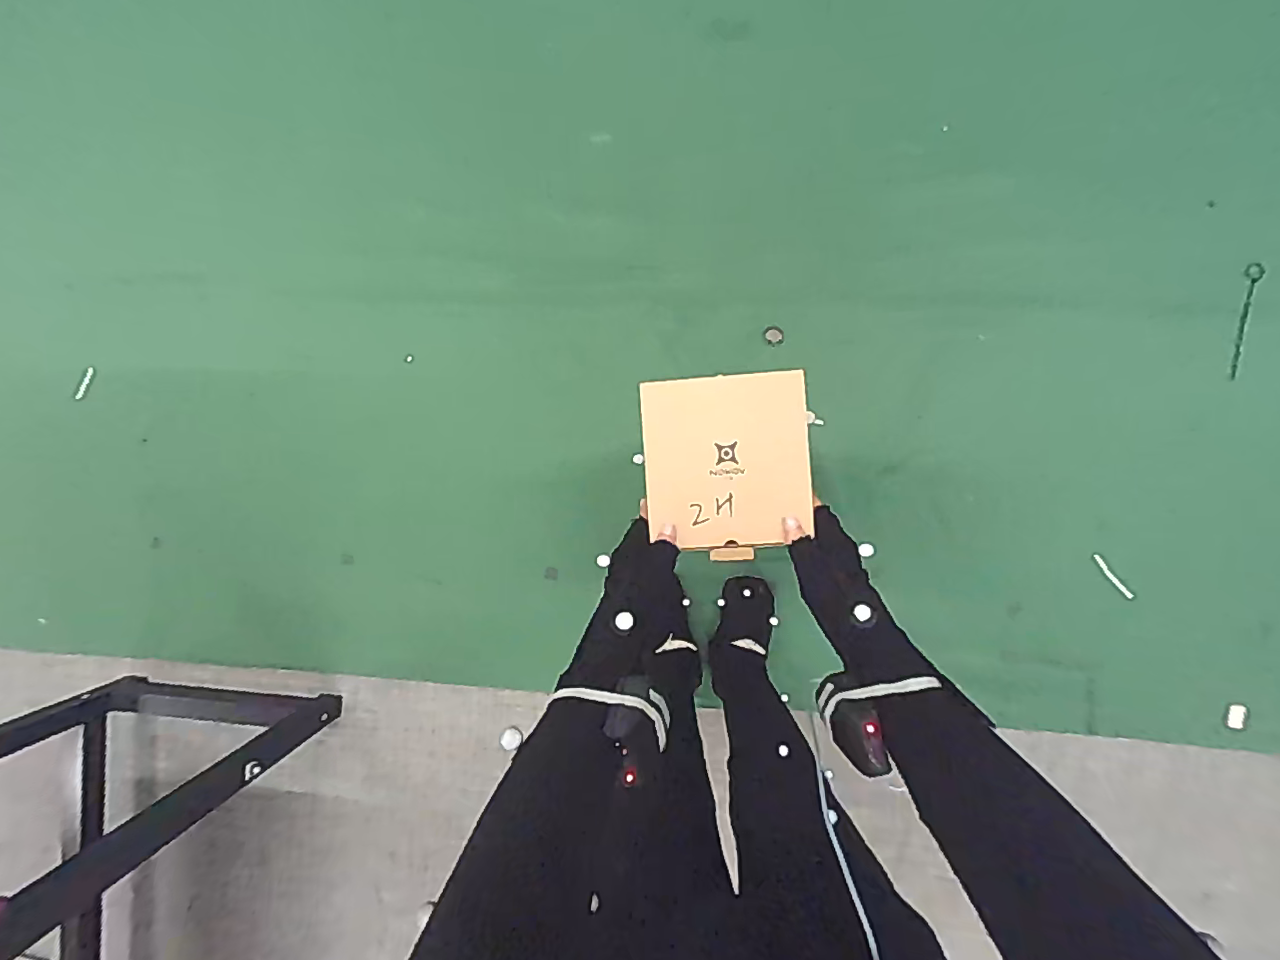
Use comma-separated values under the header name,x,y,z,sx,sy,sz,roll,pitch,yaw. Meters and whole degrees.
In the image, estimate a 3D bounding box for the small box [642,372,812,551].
name,x,y,z,sx,sy,sz,roll,pitch,yaw
small box,0.094,-0.017,0.628,0.168,0.176,0.179,-4,90,6
